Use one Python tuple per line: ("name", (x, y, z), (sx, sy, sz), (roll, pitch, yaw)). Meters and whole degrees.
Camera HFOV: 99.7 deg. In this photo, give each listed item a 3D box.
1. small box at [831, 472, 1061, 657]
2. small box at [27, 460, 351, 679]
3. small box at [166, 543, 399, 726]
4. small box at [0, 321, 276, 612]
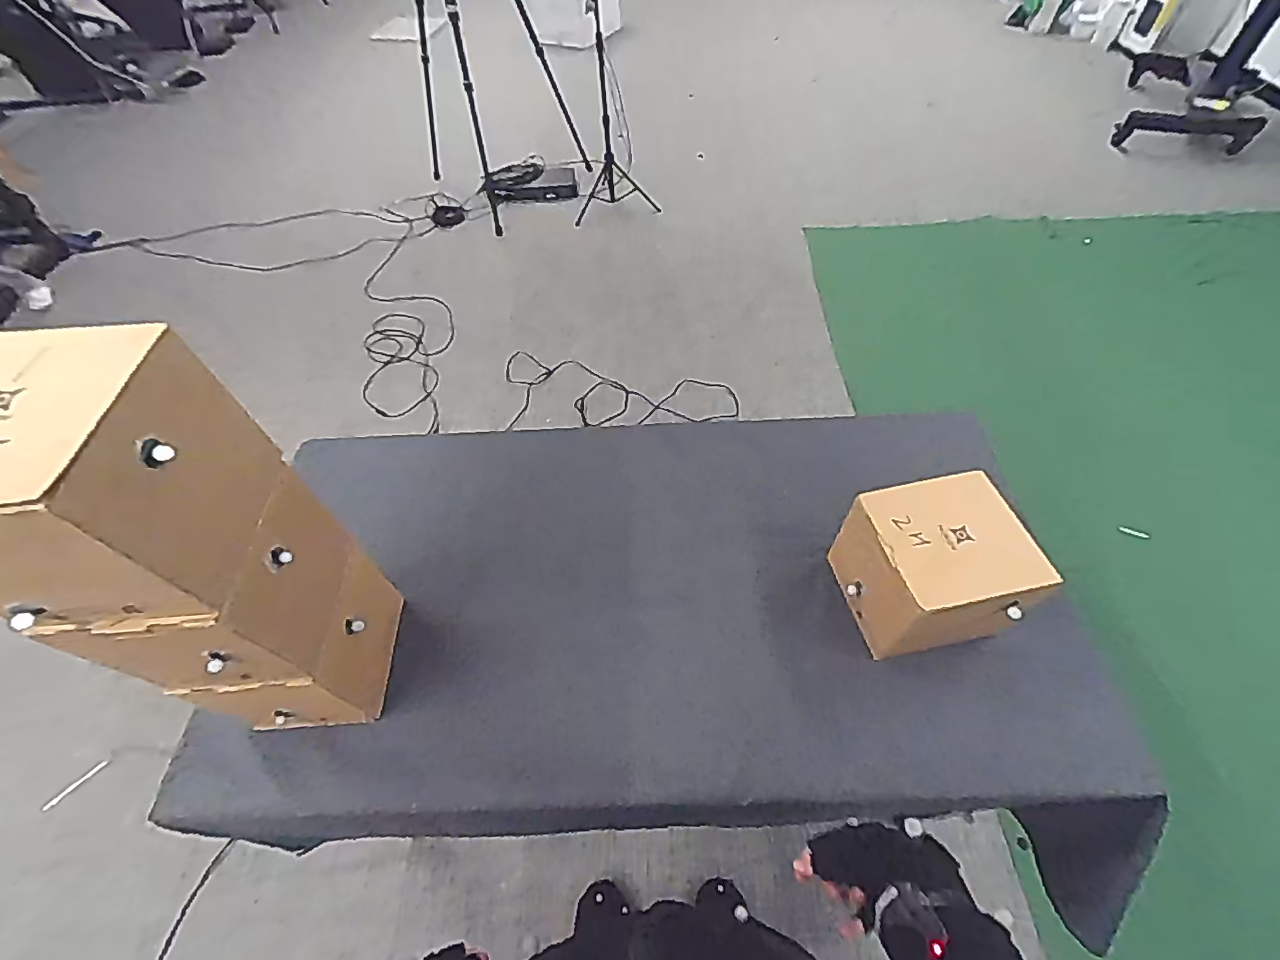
("small box", (0.380, 0.115, 0.712), (0.179, 0.176, 0.168), (-11, 54, -4))
("small box", (-0.435, 0.101, 0.565), (0.168, 0.176, 0.179), (-3, 54, -1))
("small box", (-0.431, 0.200, 0.694), (0.168, 0.176, 0.179), (-4, 54, -1))
("small box", (-0.440, -0.002, 0.438), (0.168, 0.176, 0.179), (-4, 53, -2))
